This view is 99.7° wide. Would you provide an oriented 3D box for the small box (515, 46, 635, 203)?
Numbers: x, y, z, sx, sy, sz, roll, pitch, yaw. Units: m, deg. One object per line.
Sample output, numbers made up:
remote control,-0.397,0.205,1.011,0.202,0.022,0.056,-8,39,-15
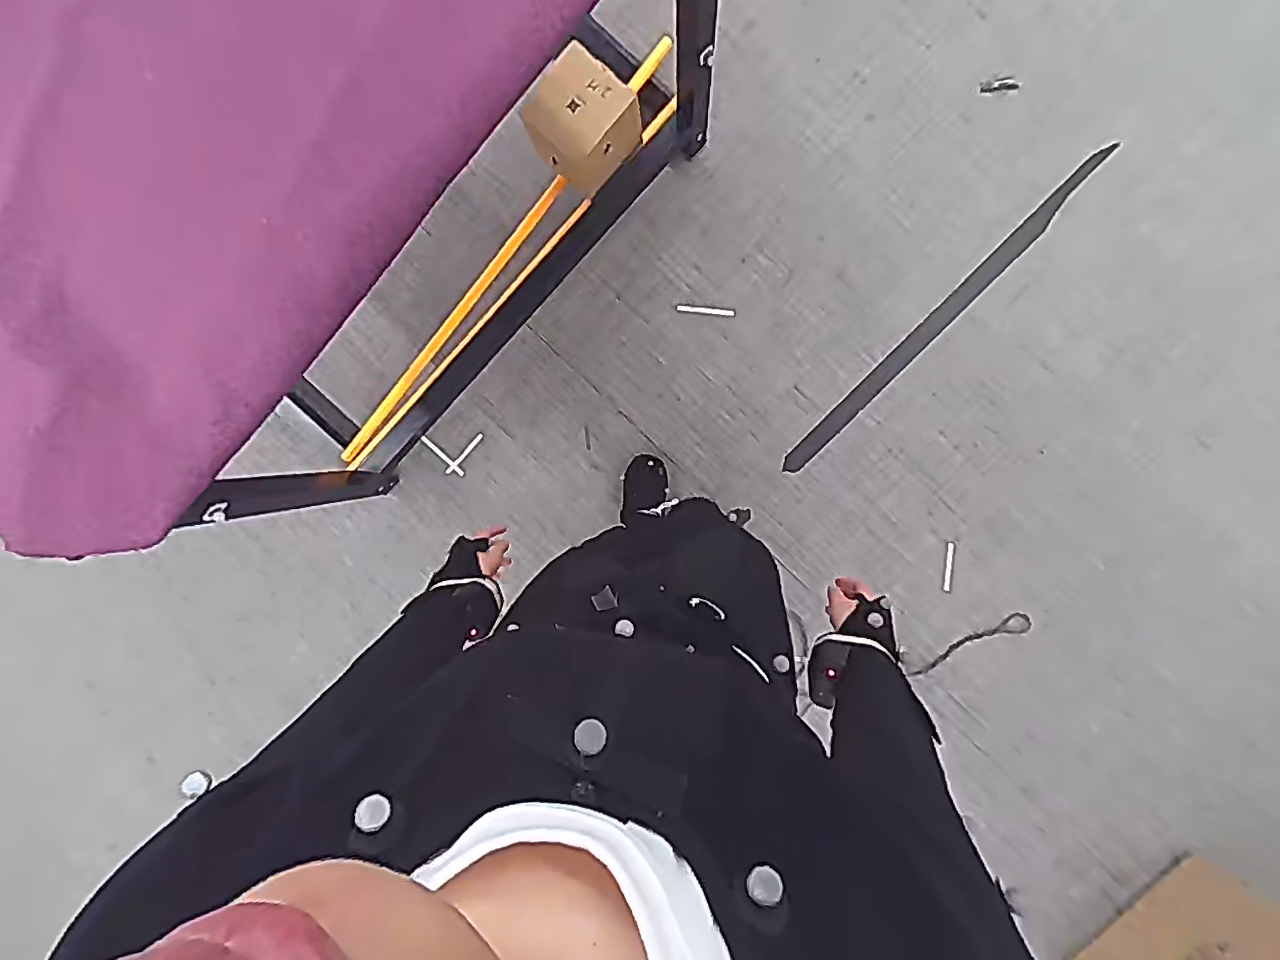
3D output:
small box,-0.124,-0.722,1.123,0.168,0.176,0.179,42,95,0
